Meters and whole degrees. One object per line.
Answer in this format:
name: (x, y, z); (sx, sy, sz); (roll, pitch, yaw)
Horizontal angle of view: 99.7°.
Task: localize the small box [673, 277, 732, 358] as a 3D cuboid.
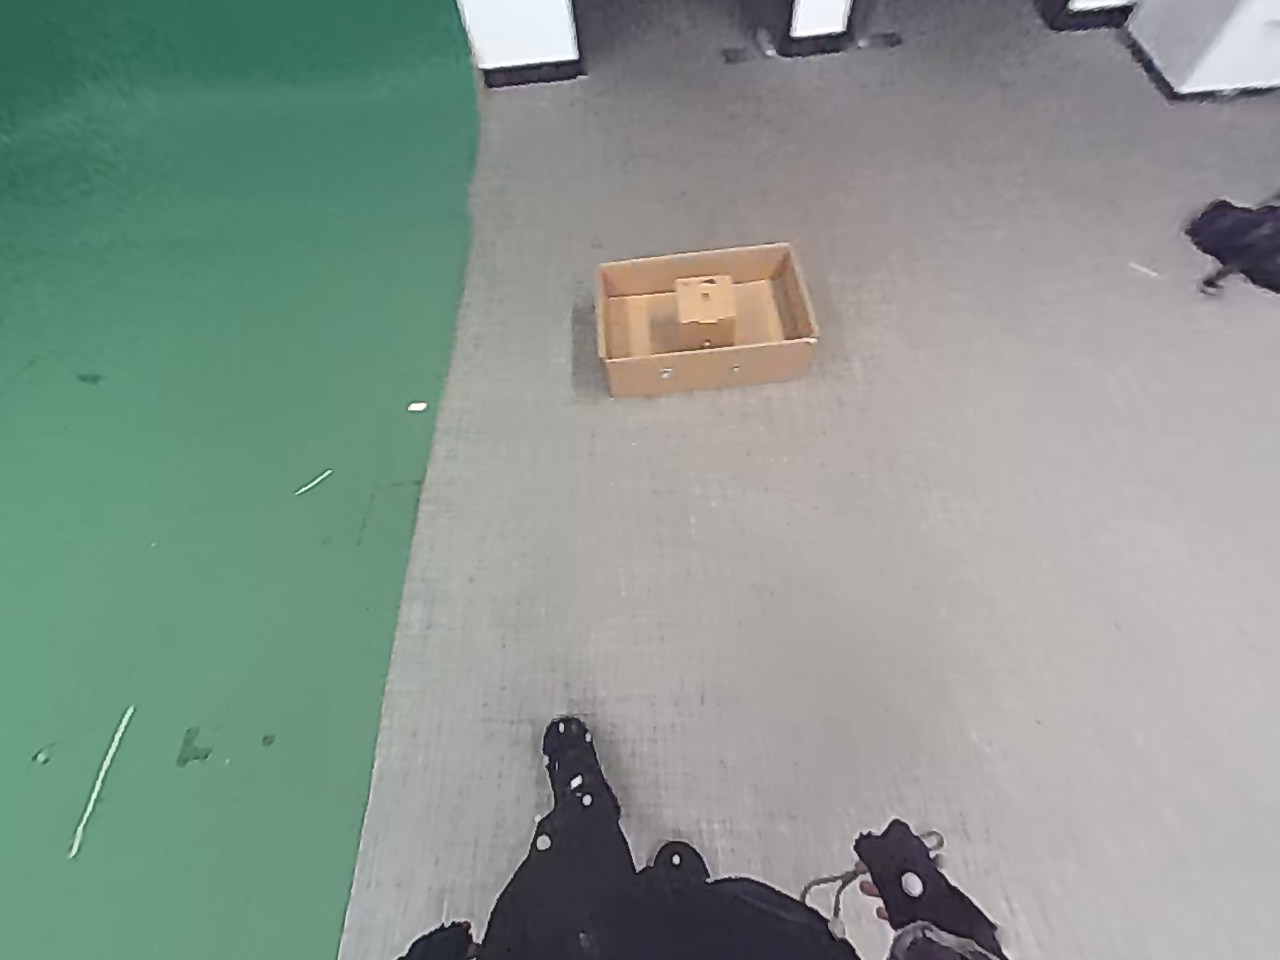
small box: (0.188, -0.484, 1.639); (0.168, 0.176, 0.179); (-3, 63, 3)
